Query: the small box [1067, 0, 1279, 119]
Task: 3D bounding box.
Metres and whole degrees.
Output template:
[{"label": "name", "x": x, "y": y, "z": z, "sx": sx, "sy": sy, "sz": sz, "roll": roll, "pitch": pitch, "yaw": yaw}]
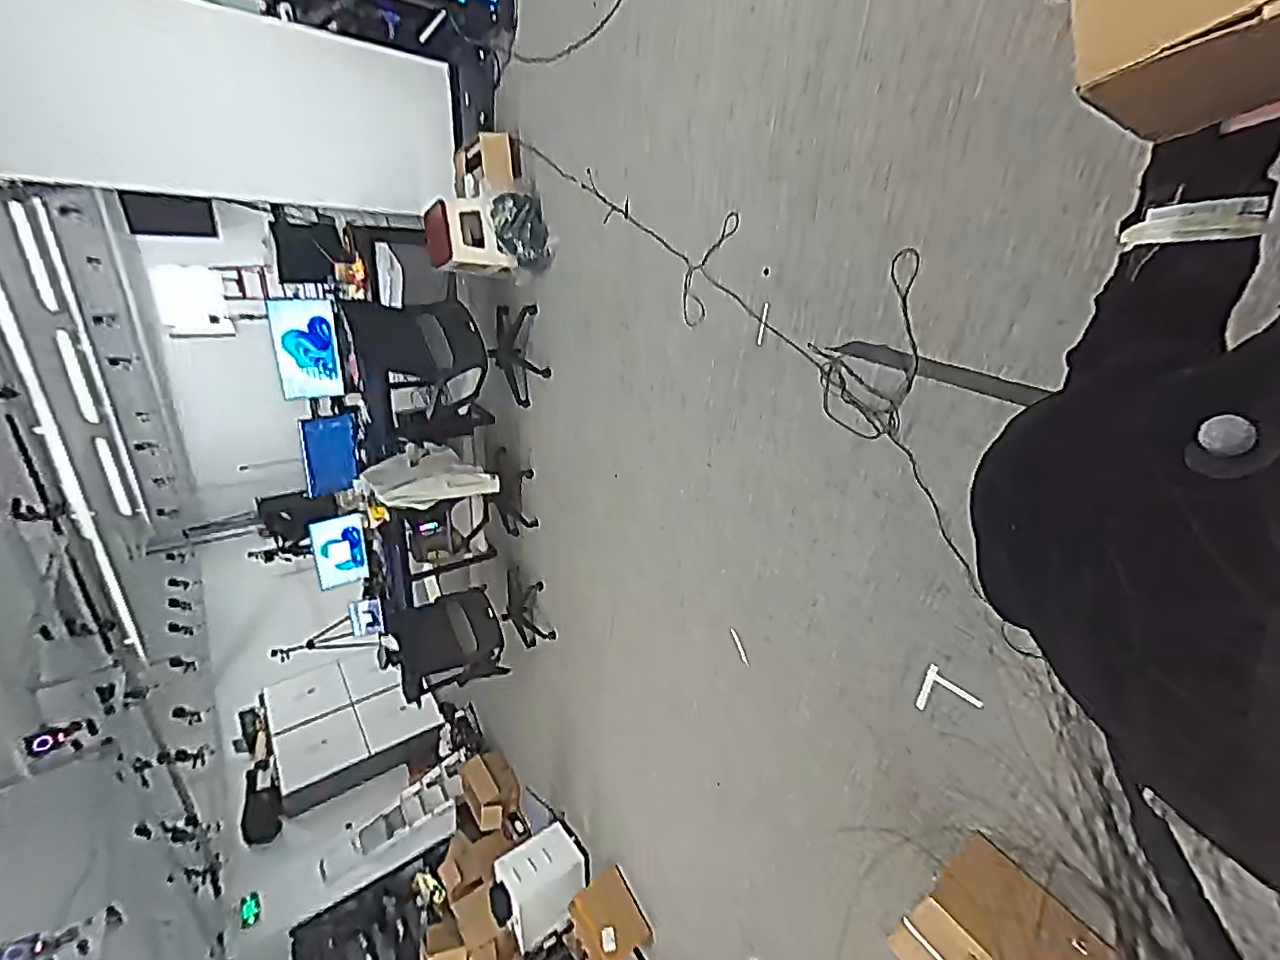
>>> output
[{"label": "small box", "x": 0.308, "y": -0.288, "z": 0.233, "sx": 0.168, "sy": 0.176, "sz": 0.179, "roll": 1, "pitch": 103, "yaw": 52}]
